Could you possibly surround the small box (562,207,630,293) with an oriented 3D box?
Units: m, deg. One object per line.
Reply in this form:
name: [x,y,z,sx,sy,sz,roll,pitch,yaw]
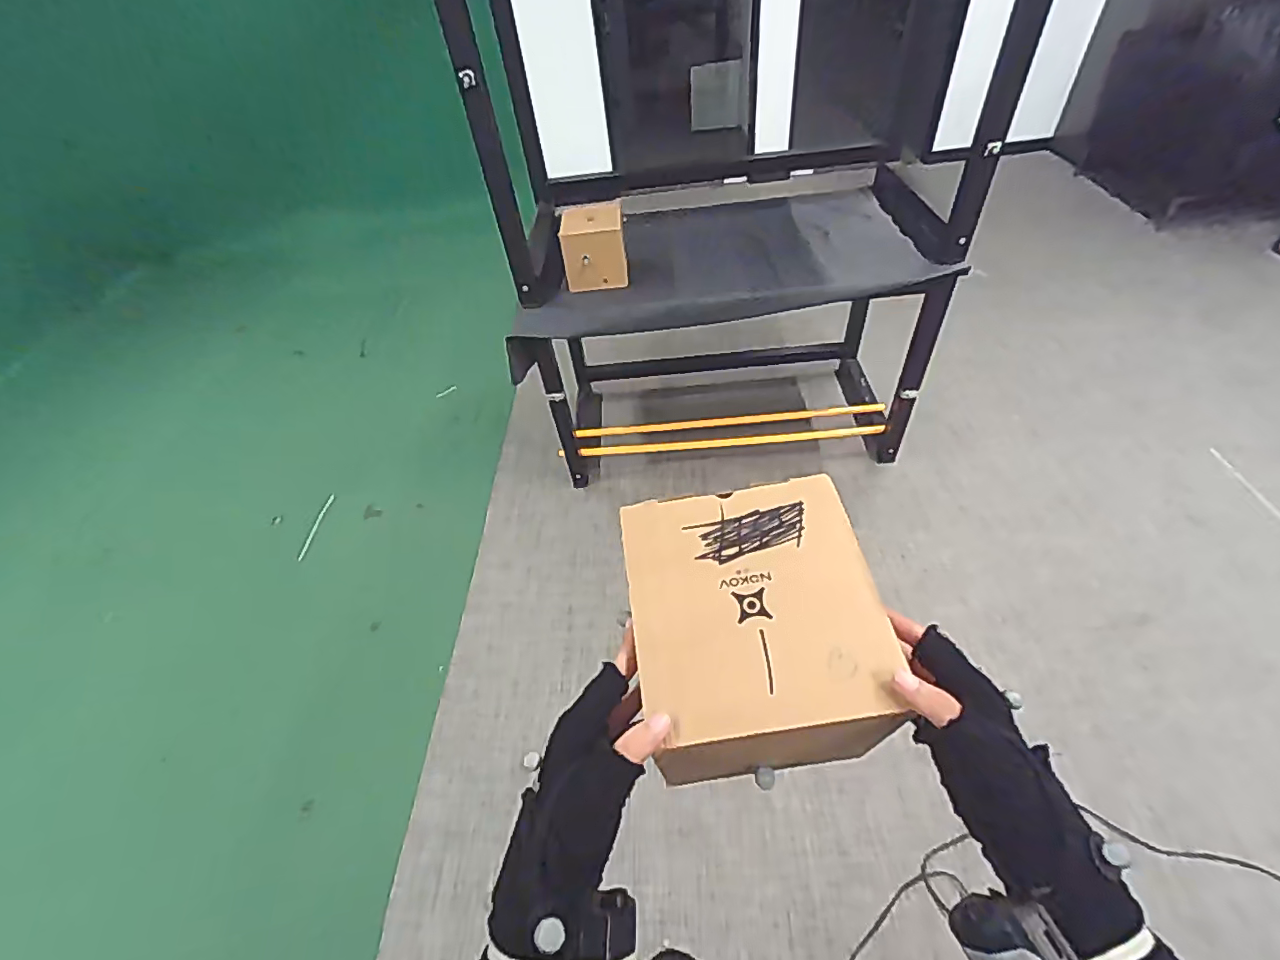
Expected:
small box: [-0.119,-0.645,1.532,0.168,0.176,0.179,-5,46,3]
